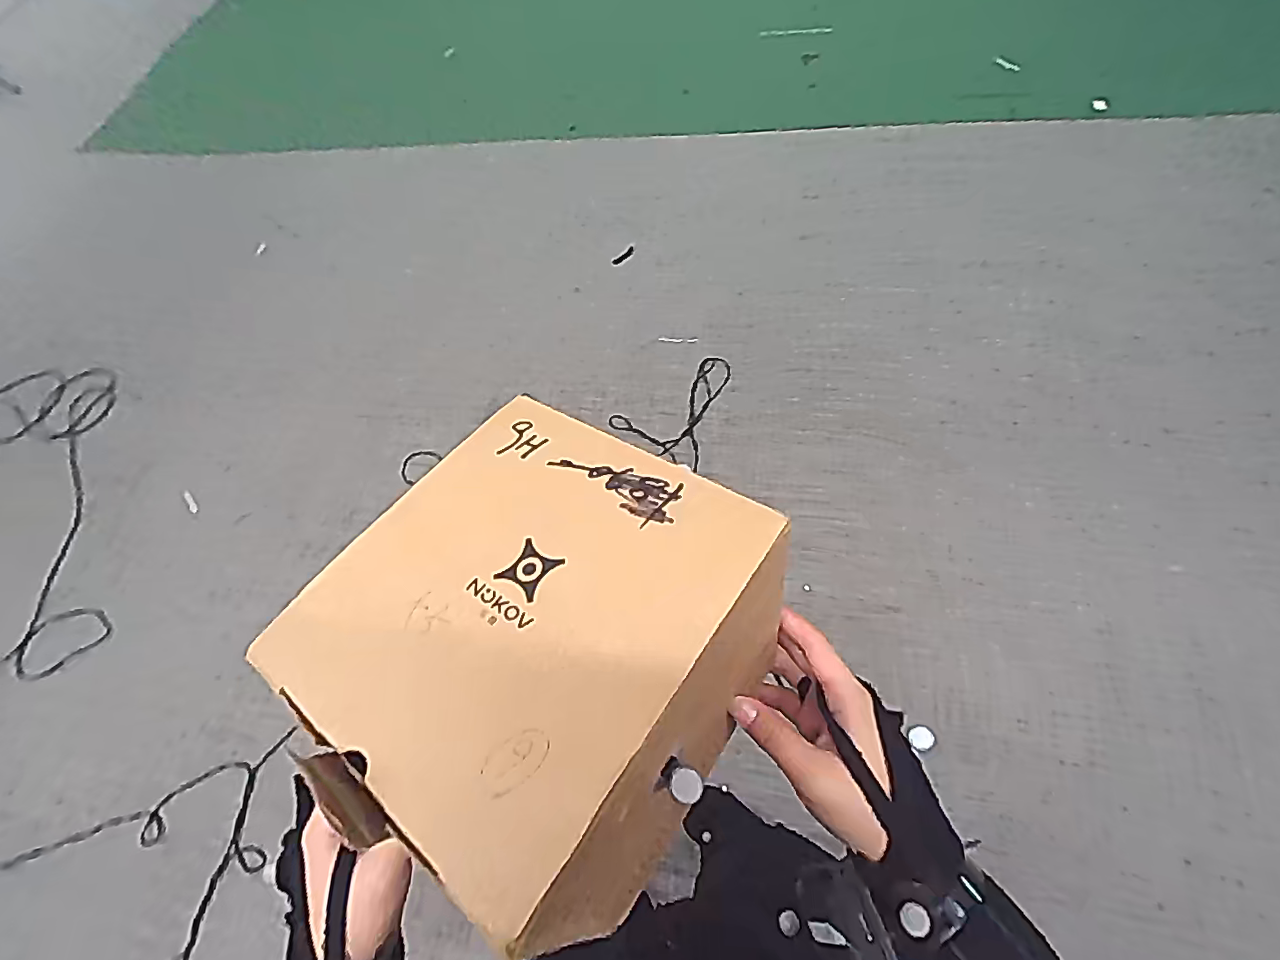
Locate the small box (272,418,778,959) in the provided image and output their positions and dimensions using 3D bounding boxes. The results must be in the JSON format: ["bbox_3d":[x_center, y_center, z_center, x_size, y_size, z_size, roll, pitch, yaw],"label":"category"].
[{"bbox_3d":[-0.038,0.104,0.299,0.168,0.176,0.179,27,63,27],"label":"small box"}]
